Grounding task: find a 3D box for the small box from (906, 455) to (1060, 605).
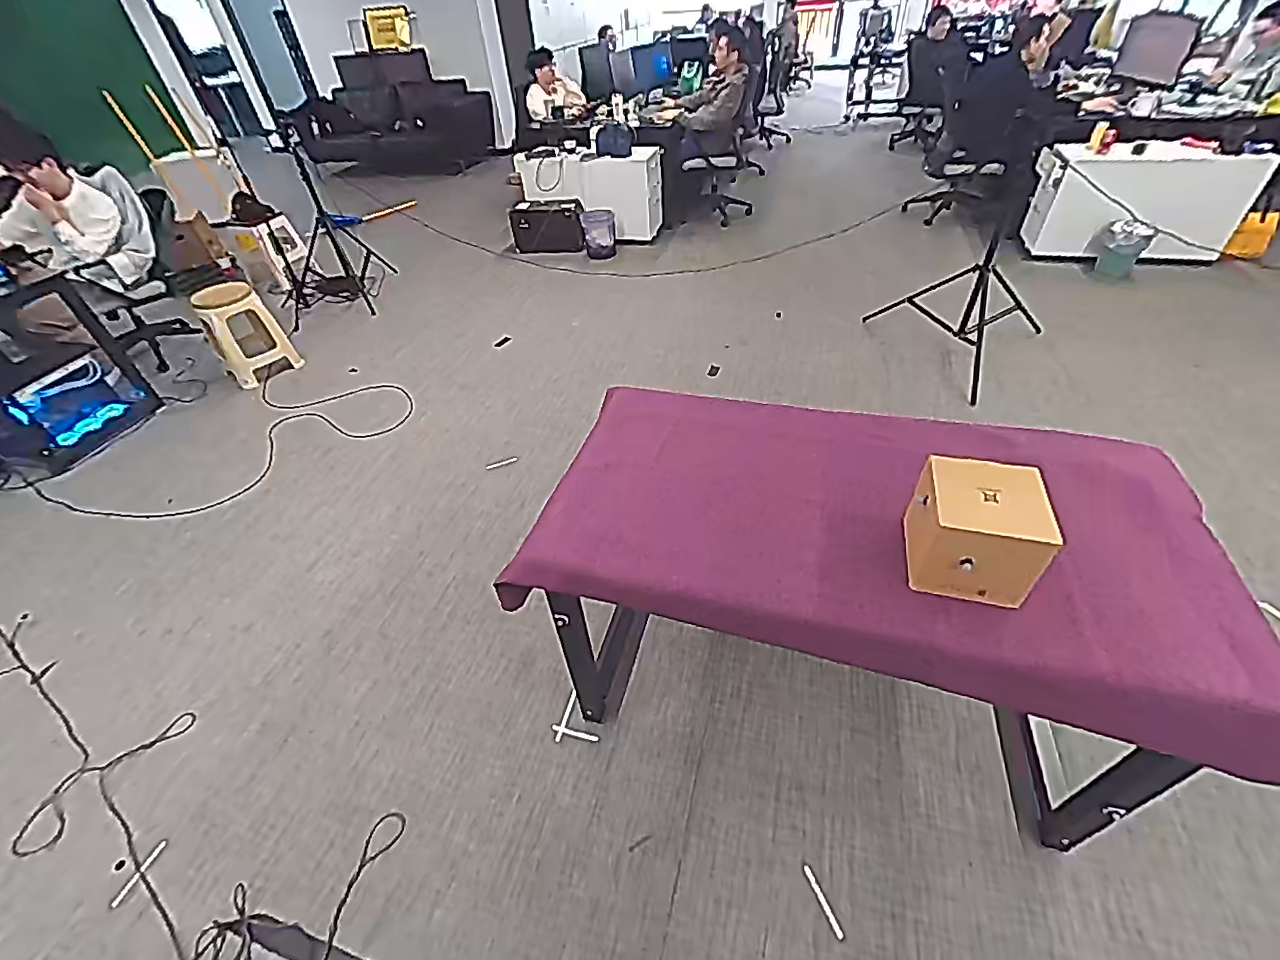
[{"bbox_3d":[0.560,0.085,0.910,0.168,0.176,0.179,9,43,15],"label":"small box"}]
